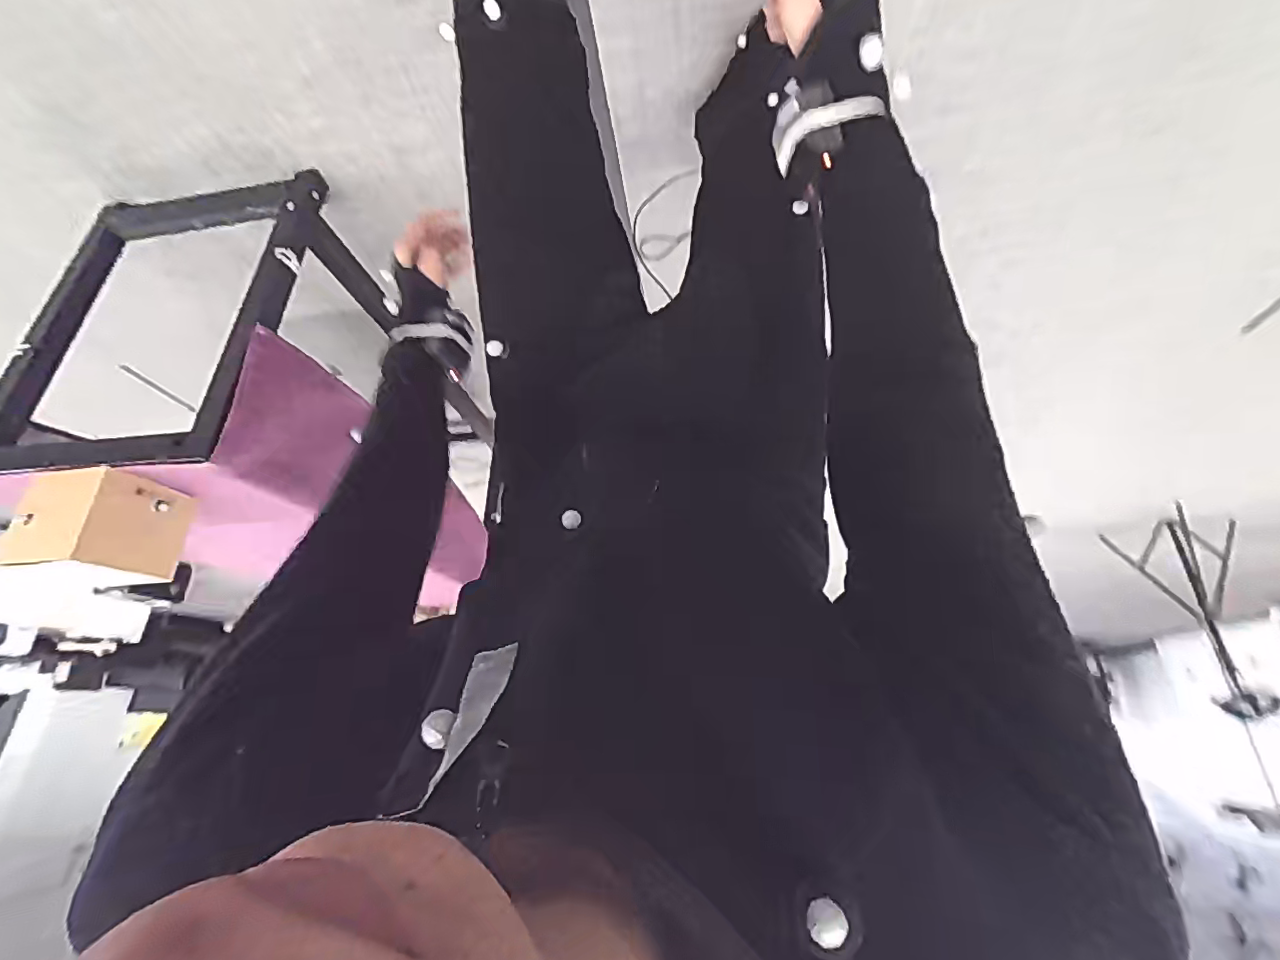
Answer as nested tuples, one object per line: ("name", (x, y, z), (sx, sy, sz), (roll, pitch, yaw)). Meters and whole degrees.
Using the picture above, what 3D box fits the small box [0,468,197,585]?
("small box", (-0.960, 0.088, 0.976), (0.179, 0.176, 0.168), (-5, 157, 13))
